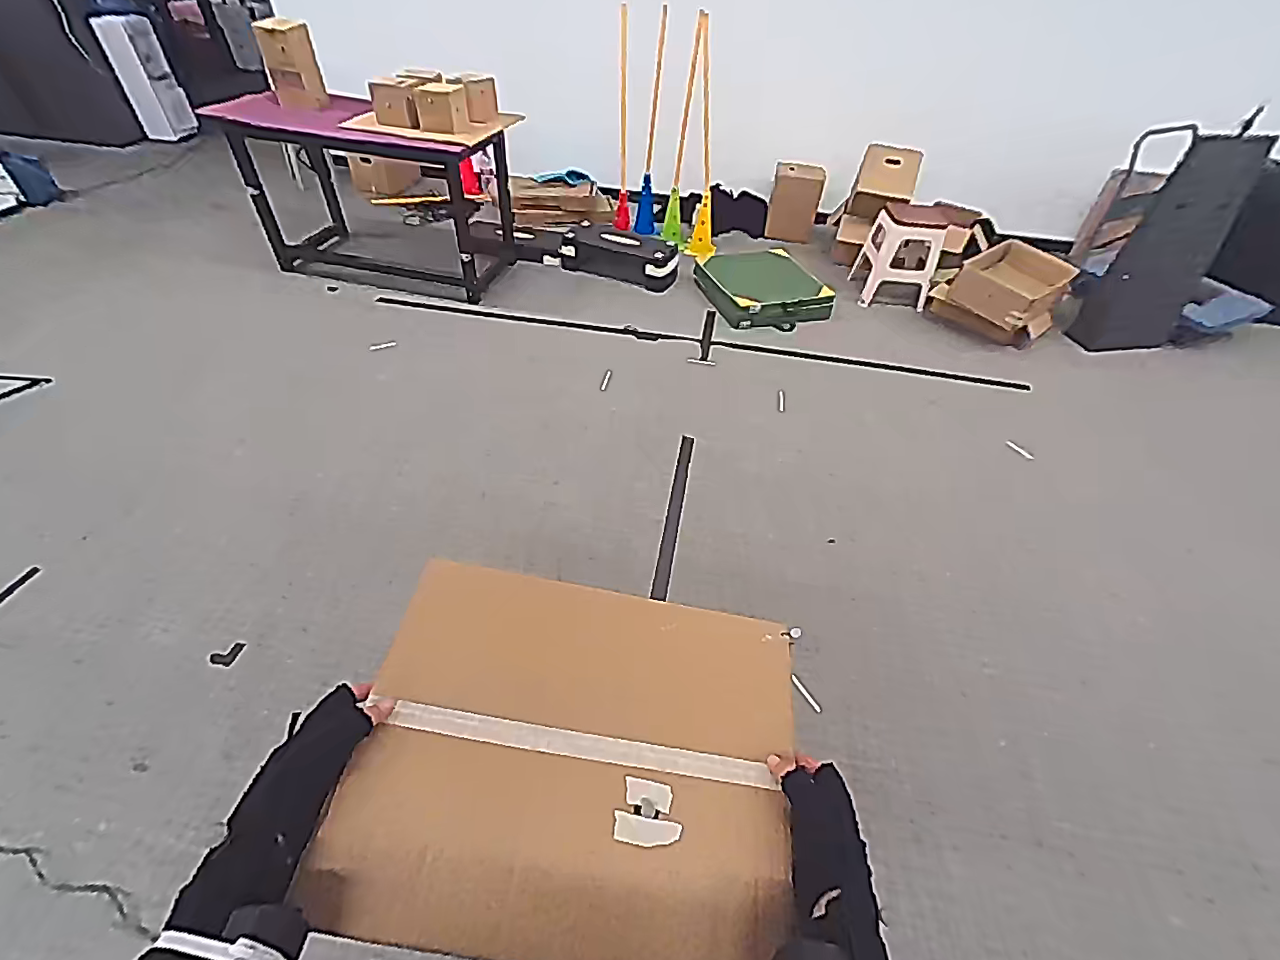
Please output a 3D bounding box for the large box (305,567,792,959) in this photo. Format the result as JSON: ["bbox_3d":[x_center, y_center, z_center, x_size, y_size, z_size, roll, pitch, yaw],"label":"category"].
[{"bbox_3d":[-0.076,0.336,0.638,0.408,0.320,0.320,11,54,-2],"label":"large box"}]
